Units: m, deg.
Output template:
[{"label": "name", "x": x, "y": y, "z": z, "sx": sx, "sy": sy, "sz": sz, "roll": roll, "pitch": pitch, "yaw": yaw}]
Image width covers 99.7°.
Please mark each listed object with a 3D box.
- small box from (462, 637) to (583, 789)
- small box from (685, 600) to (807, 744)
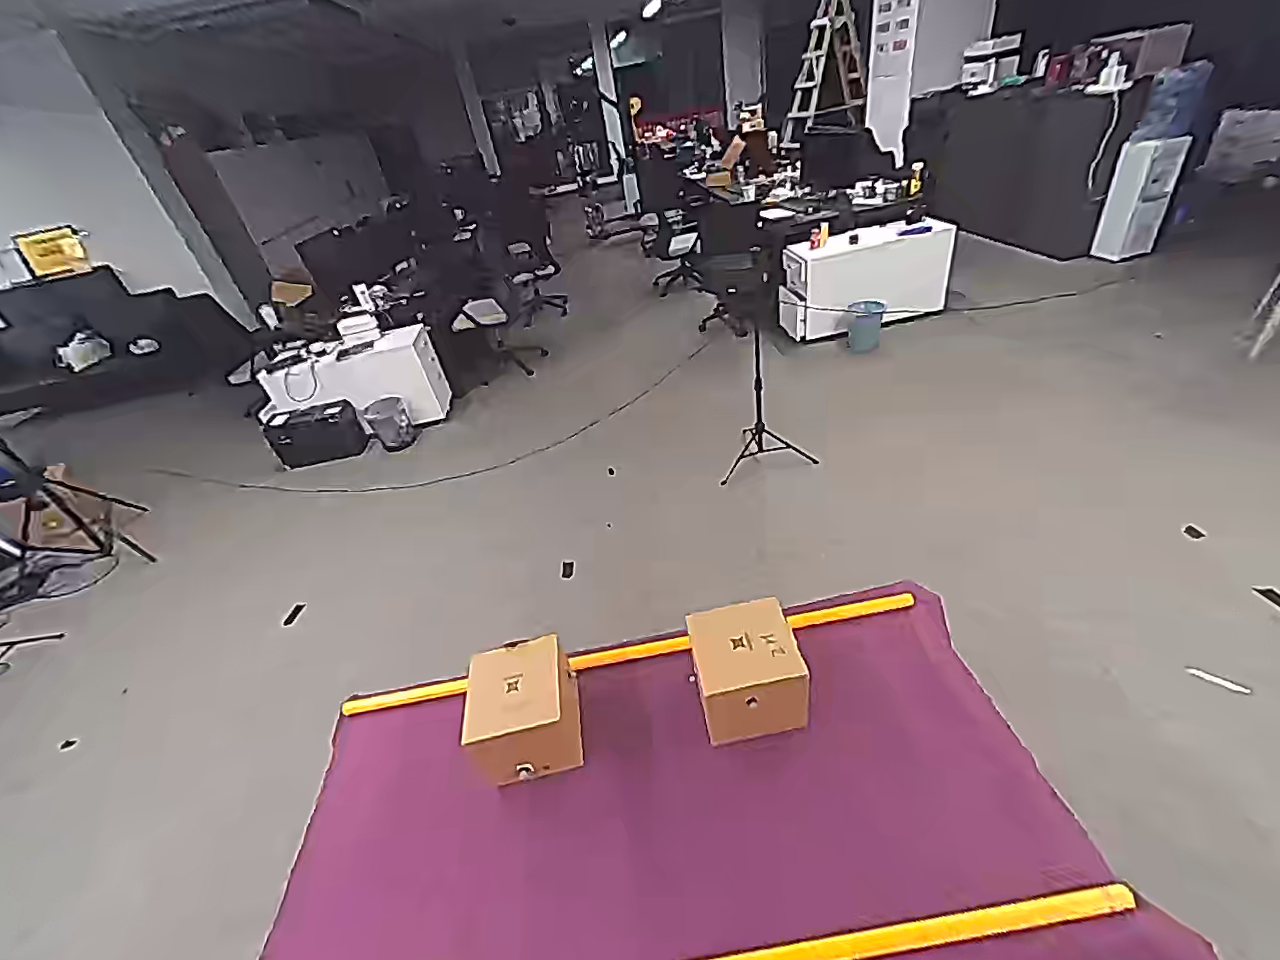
[{"label": "small box", "x": -0.206, "y": 0.421, "z": 0.983, "sx": 0.168, "sy": 0.176, "sz": 0.179, "roll": -14, "pitch": 36, "yaw": -1}, {"label": "small box", "x": 0.189, "y": 0.347, "z": 0.972, "sx": 0.179, "sy": 0.176, "sz": 0.168, "roll": -12, "pitch": 37, "yaw": 0}]
